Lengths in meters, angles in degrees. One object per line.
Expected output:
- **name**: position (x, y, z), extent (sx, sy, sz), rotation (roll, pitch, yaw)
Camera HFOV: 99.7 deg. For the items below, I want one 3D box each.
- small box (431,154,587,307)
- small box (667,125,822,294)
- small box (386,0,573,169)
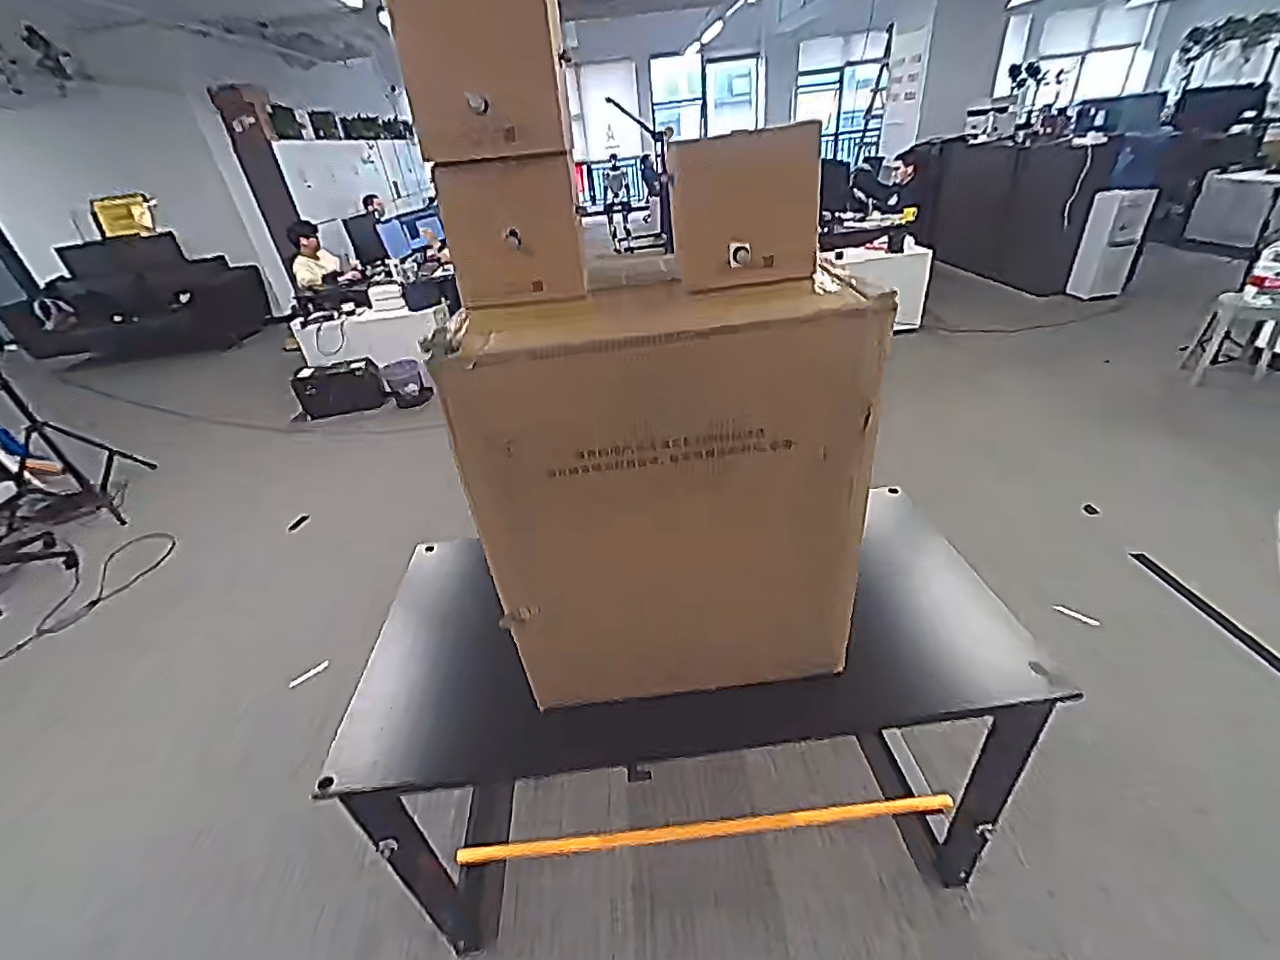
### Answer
- **small box**: position (-0.165, -0.342, 0.746), extent (0.168, 0.176, 0.179), rotation (-6, 32, -1)
- **small box**: position (0.128, -0.353, 0.710), extent (0.168, 0.176, 0.179), rotation (-8, 32, 3)
- **small box**: position (-0.174, -0.473, 0.644), extent (0.168, 0.176, 0.179), rotation (-6, 32, 0)
